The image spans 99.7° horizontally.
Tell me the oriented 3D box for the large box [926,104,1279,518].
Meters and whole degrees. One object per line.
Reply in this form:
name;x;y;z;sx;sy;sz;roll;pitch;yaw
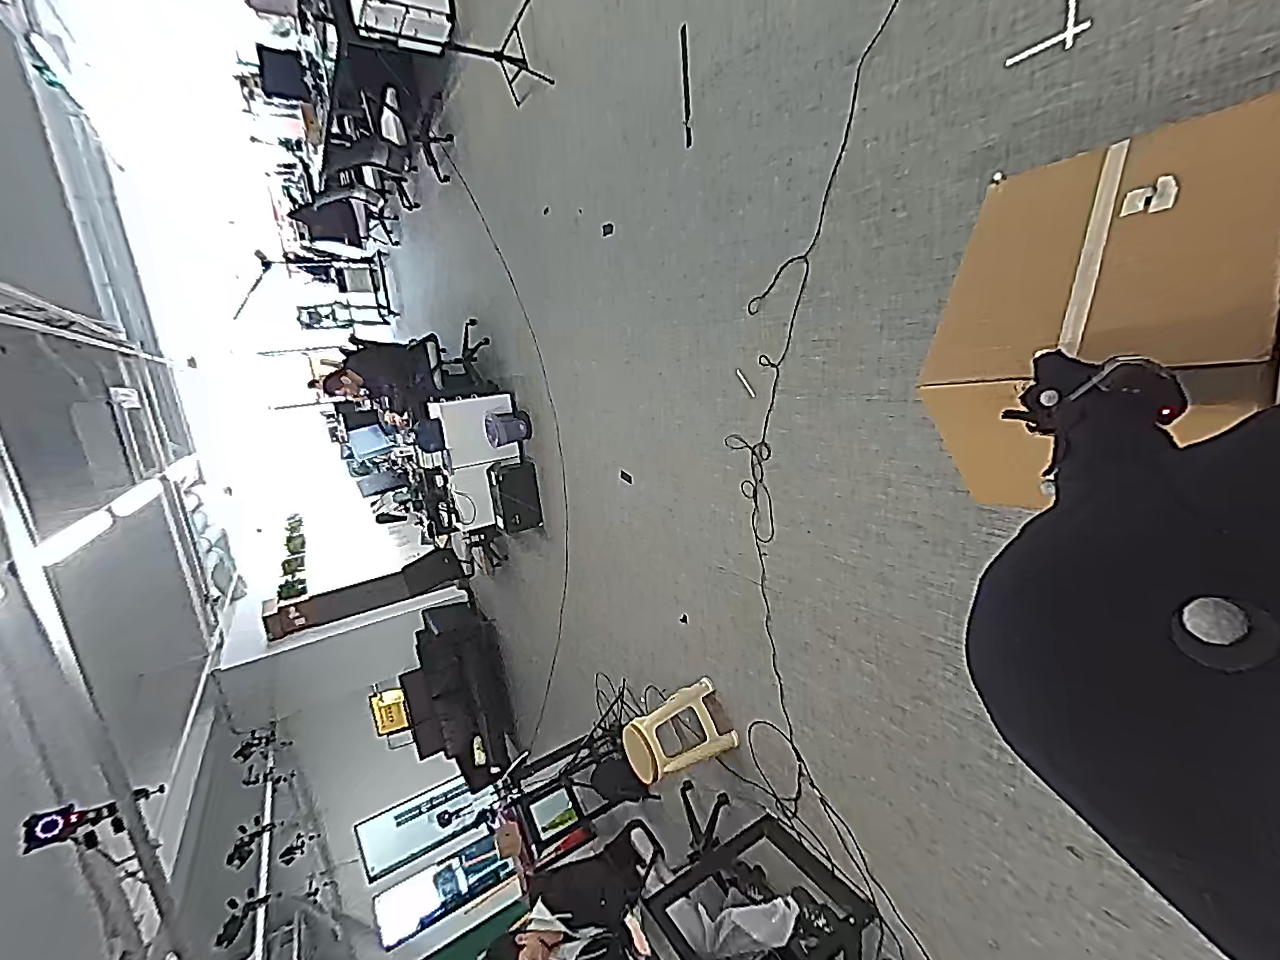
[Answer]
large box;0.664;-0.199;0.760;0.320;0.408;0.320;6;151;50
